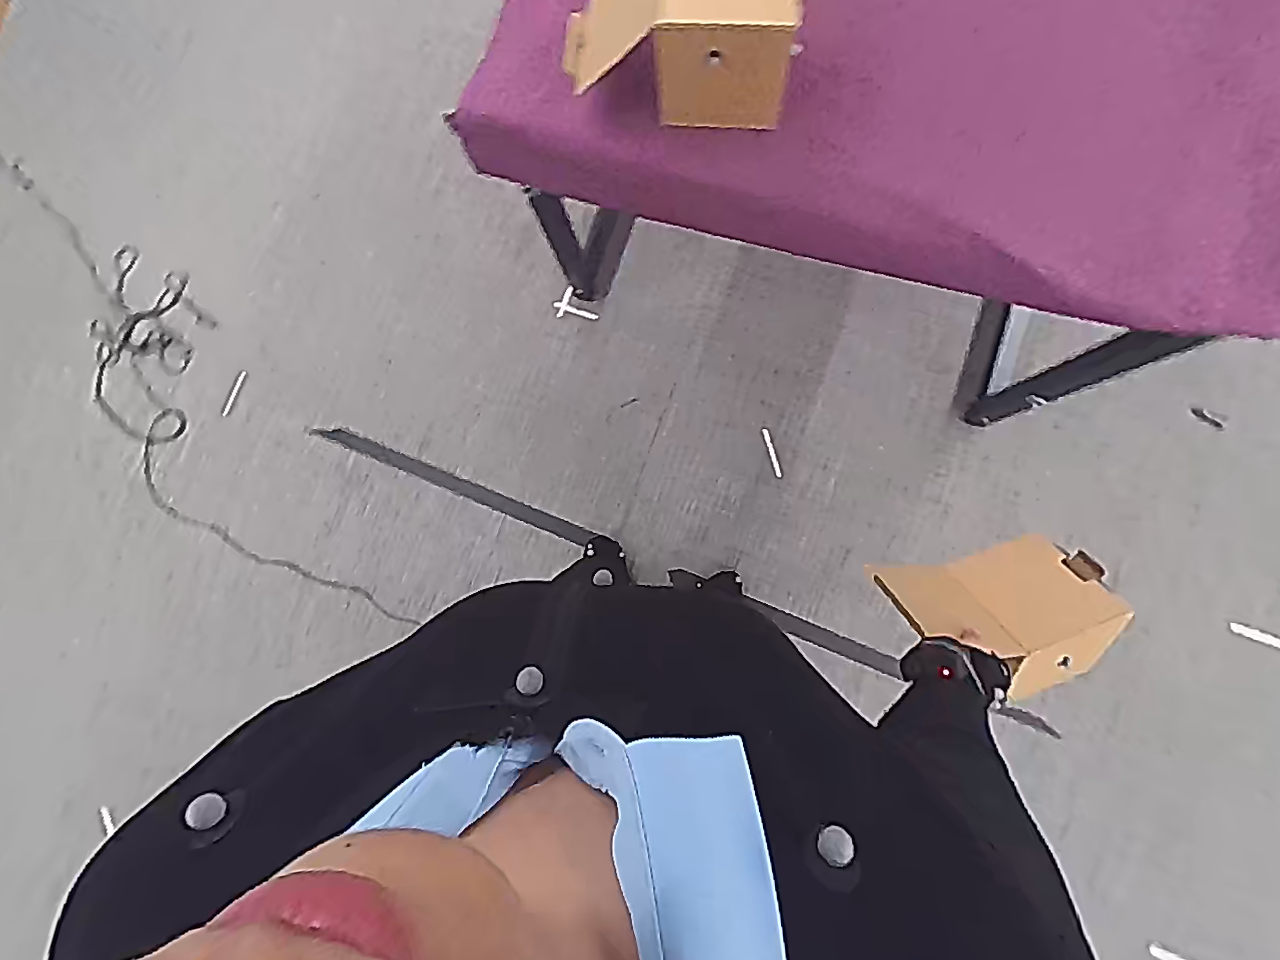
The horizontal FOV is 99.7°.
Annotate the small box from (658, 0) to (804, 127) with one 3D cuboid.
[{"bbox_3d":[0.126,-0.621,0.742,0.179,0.176,0.168,7,85,6],"label":"small box"}]
